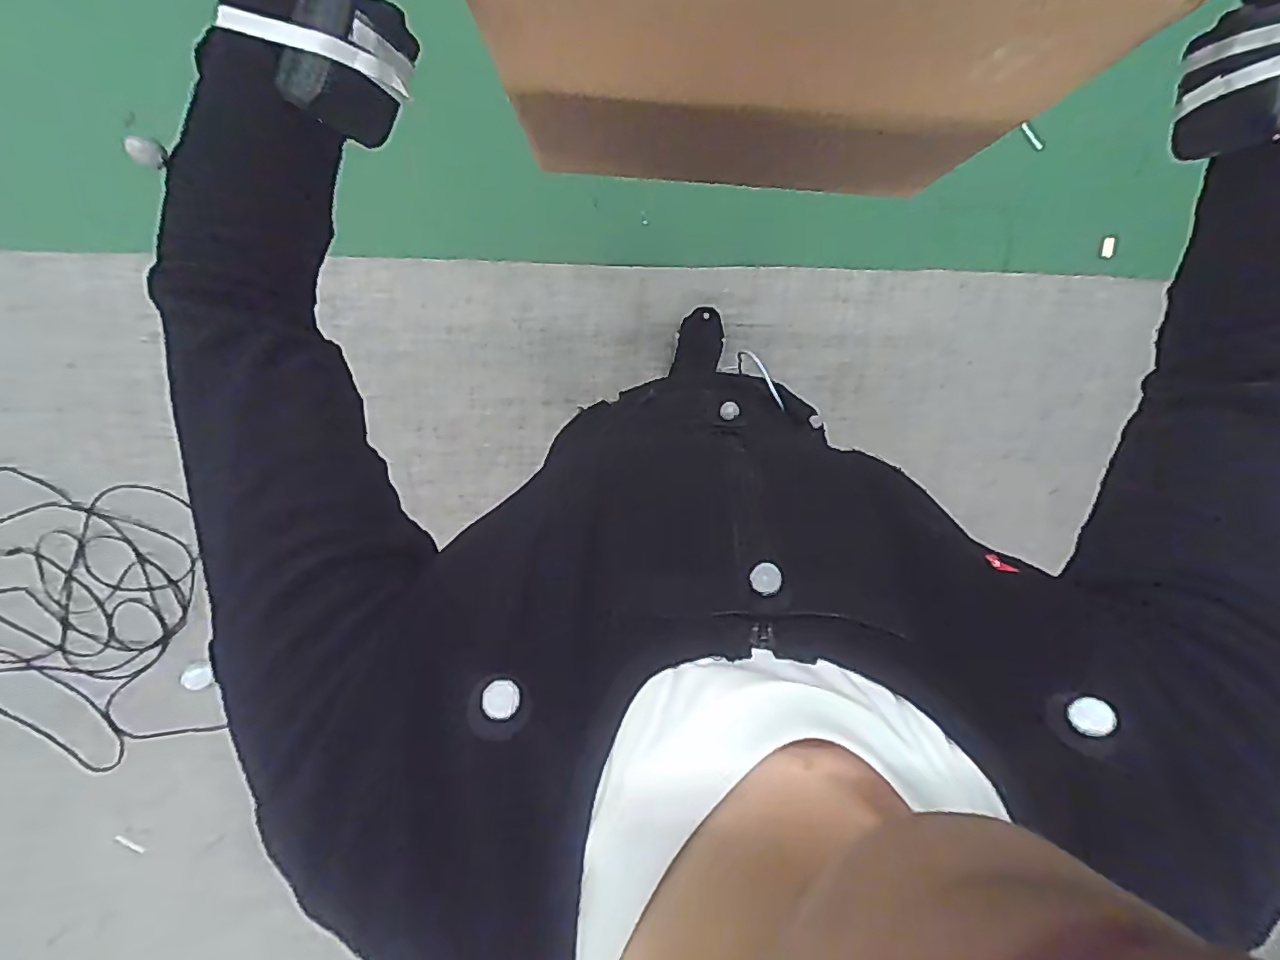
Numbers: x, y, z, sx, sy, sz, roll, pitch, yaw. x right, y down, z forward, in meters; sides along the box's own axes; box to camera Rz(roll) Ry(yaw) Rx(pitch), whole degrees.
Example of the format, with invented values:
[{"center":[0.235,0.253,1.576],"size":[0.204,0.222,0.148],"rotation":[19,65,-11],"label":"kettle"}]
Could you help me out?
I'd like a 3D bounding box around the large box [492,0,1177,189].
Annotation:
[{"center":[0.107,-0.444,0.410],"size":[0.408,0.320,0.320],"rotation":[2,100,-2],"label":"large box"}]
